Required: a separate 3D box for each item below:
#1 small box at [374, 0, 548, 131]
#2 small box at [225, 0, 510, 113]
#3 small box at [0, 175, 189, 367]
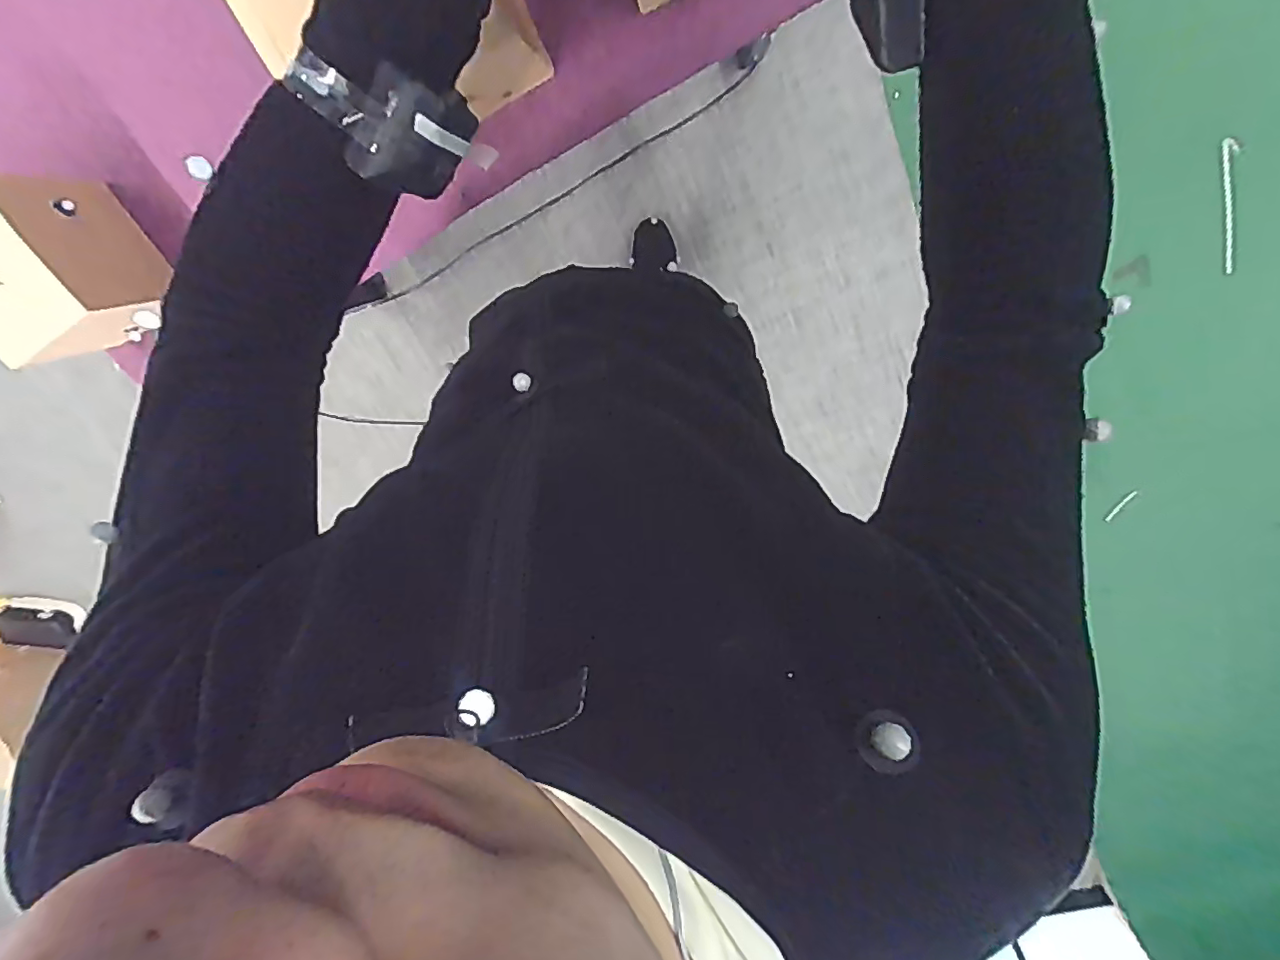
[{"bbox_3d":[-0.221,-0.505,0.580,0.168,0.176,0.179,-21,112,15],"label":"small box"},{"bbox_3d":[-0.232,-0.435,0.432,0.168,0.176,0.179,-21,113,14],"label":"small box"},{"bbox_3d":[-0.787,-0.281,0.730,0.168,0.176,0.179,-23,112,15],"label":"small box"}]
